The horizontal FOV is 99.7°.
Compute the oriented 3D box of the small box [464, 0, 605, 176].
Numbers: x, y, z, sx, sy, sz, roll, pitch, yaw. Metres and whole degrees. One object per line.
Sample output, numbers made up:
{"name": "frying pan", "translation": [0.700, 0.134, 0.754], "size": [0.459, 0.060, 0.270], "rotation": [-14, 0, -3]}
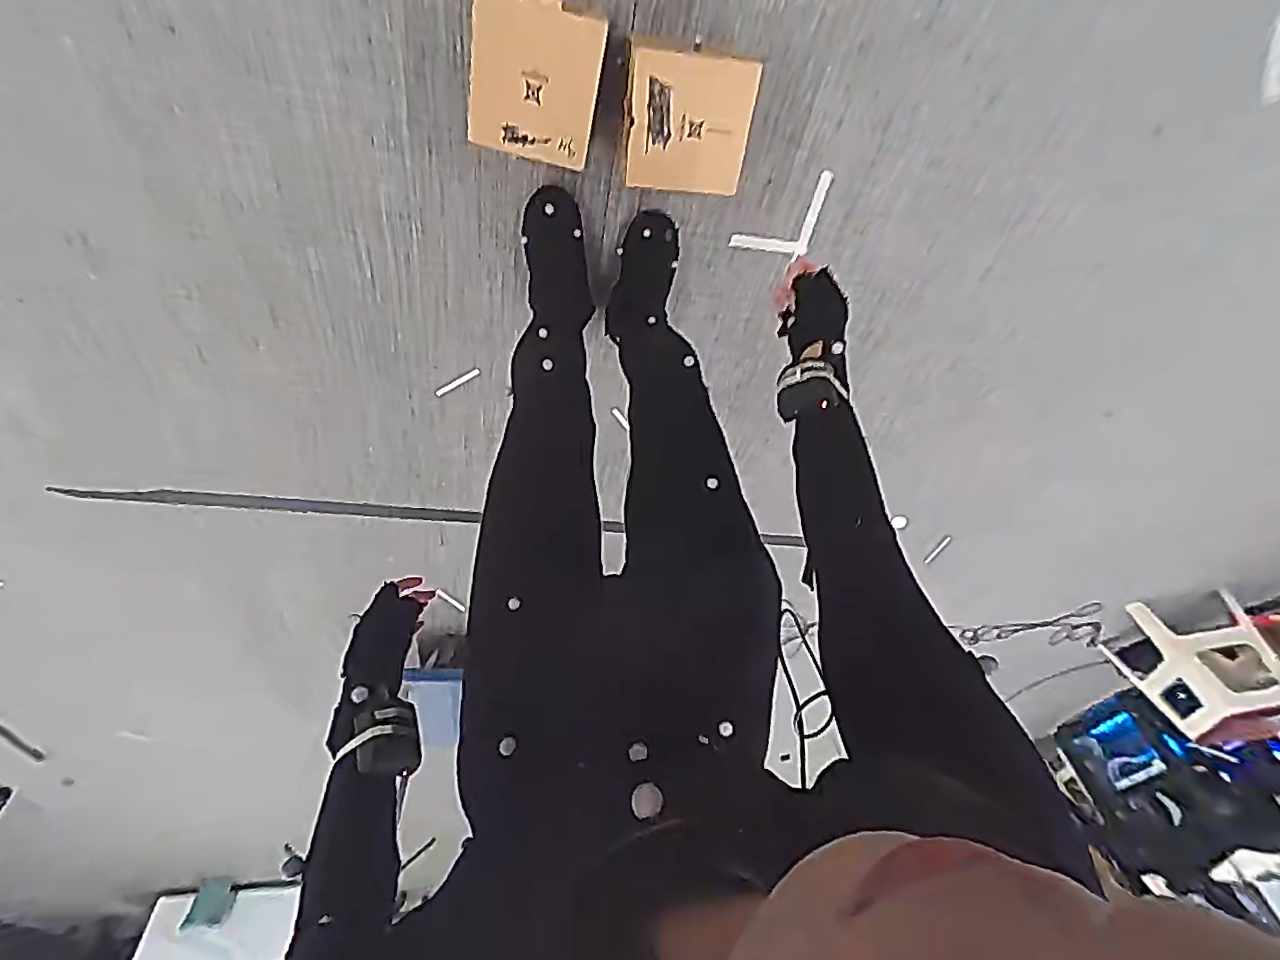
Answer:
{"name": "small box", "translation": [-0.153, -0.575, 0.778], "size": [0.168, 0.176, 0.179], "rotation": [8, 131, -14]}

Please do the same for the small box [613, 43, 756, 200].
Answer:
{"name": "small box", "translation": [0.054, -0.551, 0.830], "size": [0.179, 0.176, 0.168], "rotation": [0, 134, -10]}
